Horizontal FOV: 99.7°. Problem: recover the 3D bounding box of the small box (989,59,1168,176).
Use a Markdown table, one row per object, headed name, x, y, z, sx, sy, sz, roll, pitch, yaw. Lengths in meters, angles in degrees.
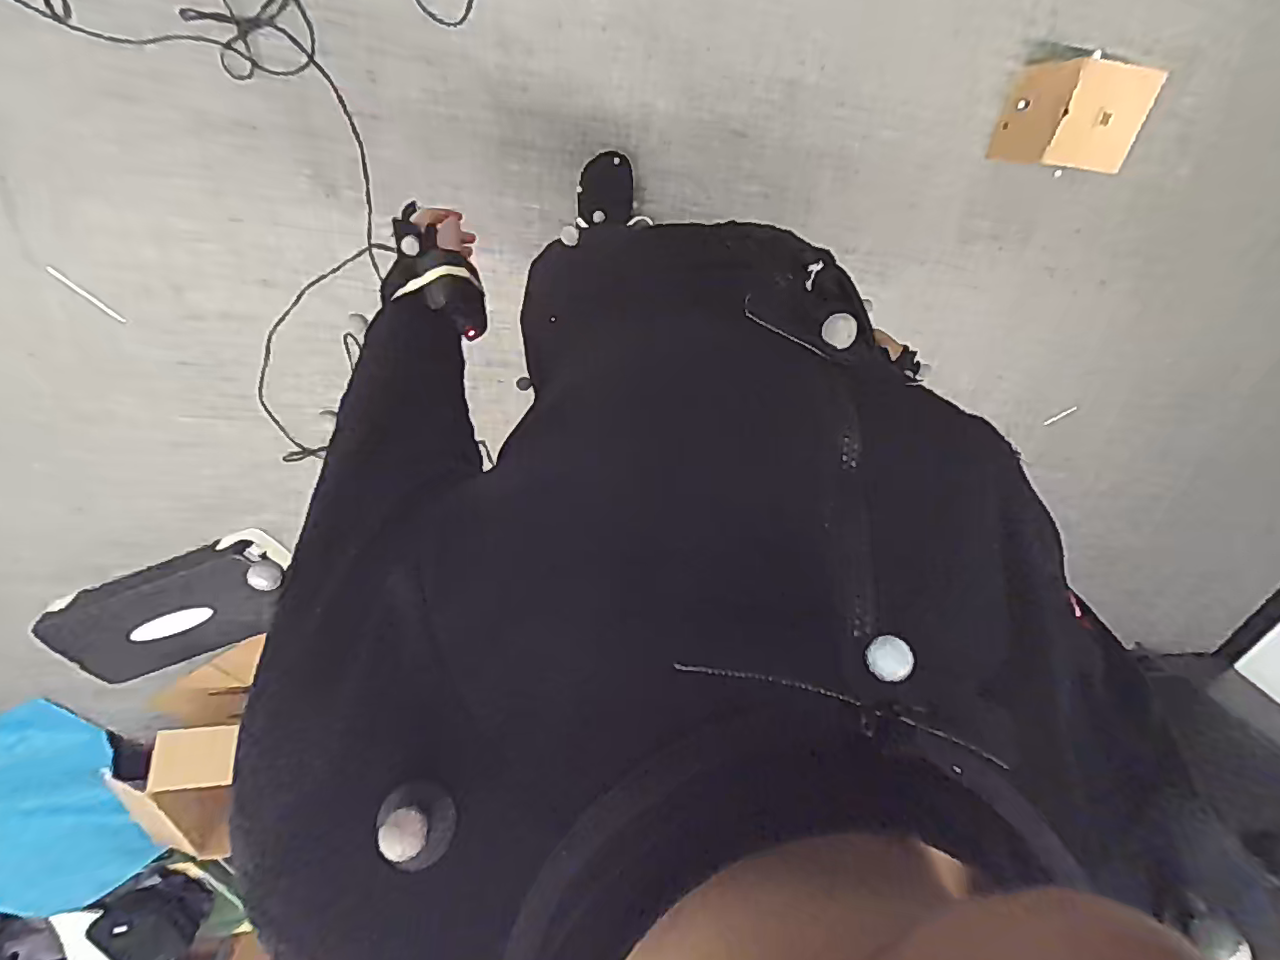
| name | x | y | z | sx | sy | sz | roll | pitch | yaw |
| --- | --- | --- | --- | --- | --- | --- | --- | --- | --- |
| small box | 0.852 | -0.714 | 1.072 | 0.179 | 0.176 | 0.168 | 2 | 123 | -9 |
